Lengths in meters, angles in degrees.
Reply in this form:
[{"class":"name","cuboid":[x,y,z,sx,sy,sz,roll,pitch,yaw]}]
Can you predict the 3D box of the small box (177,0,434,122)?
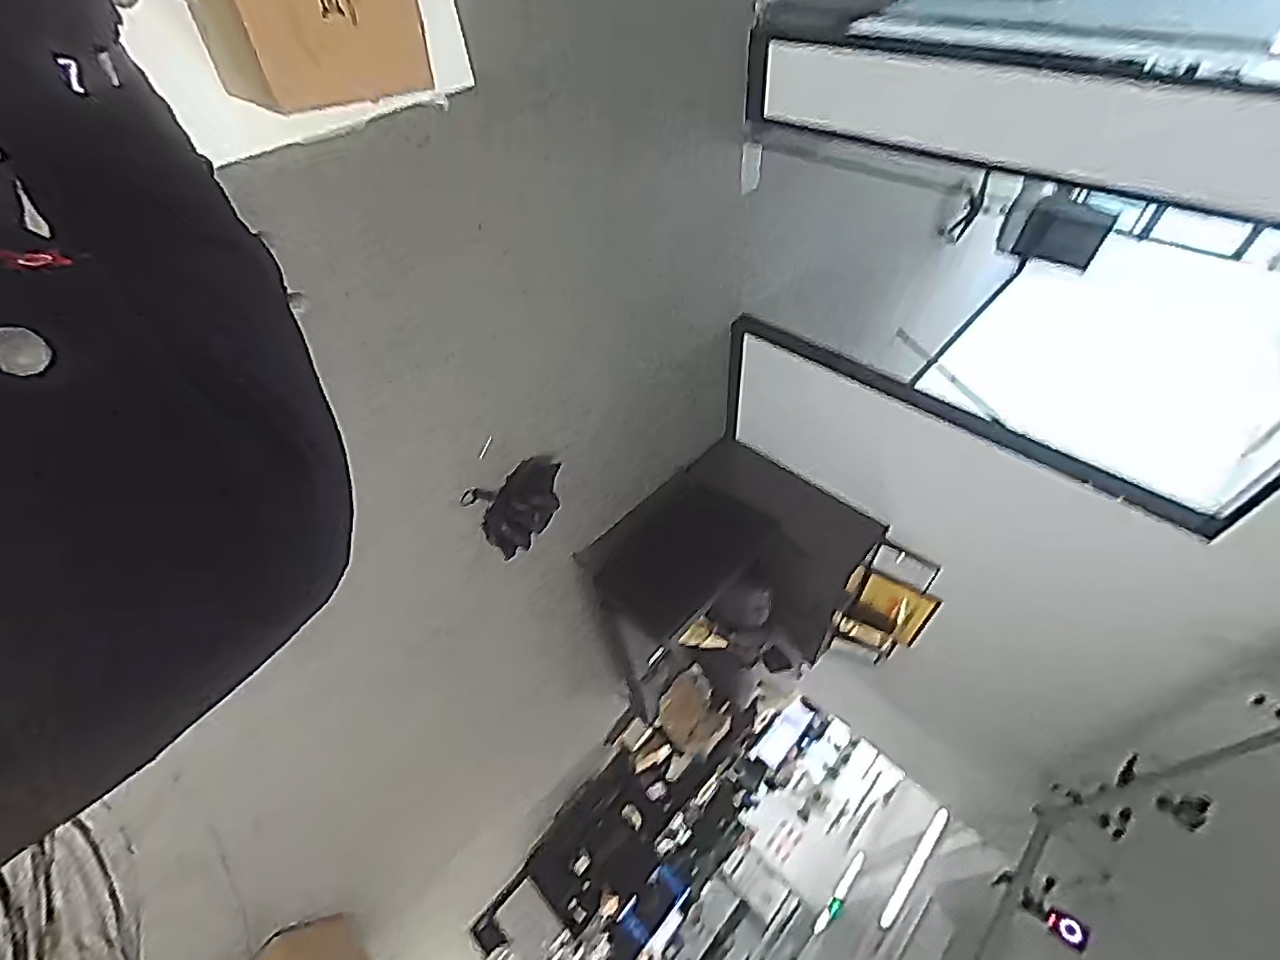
[{"class":"small box","cuboid":[-0.348,-0.485,0.548,0.179,0.176,0.168,-36,143,-29]}]
